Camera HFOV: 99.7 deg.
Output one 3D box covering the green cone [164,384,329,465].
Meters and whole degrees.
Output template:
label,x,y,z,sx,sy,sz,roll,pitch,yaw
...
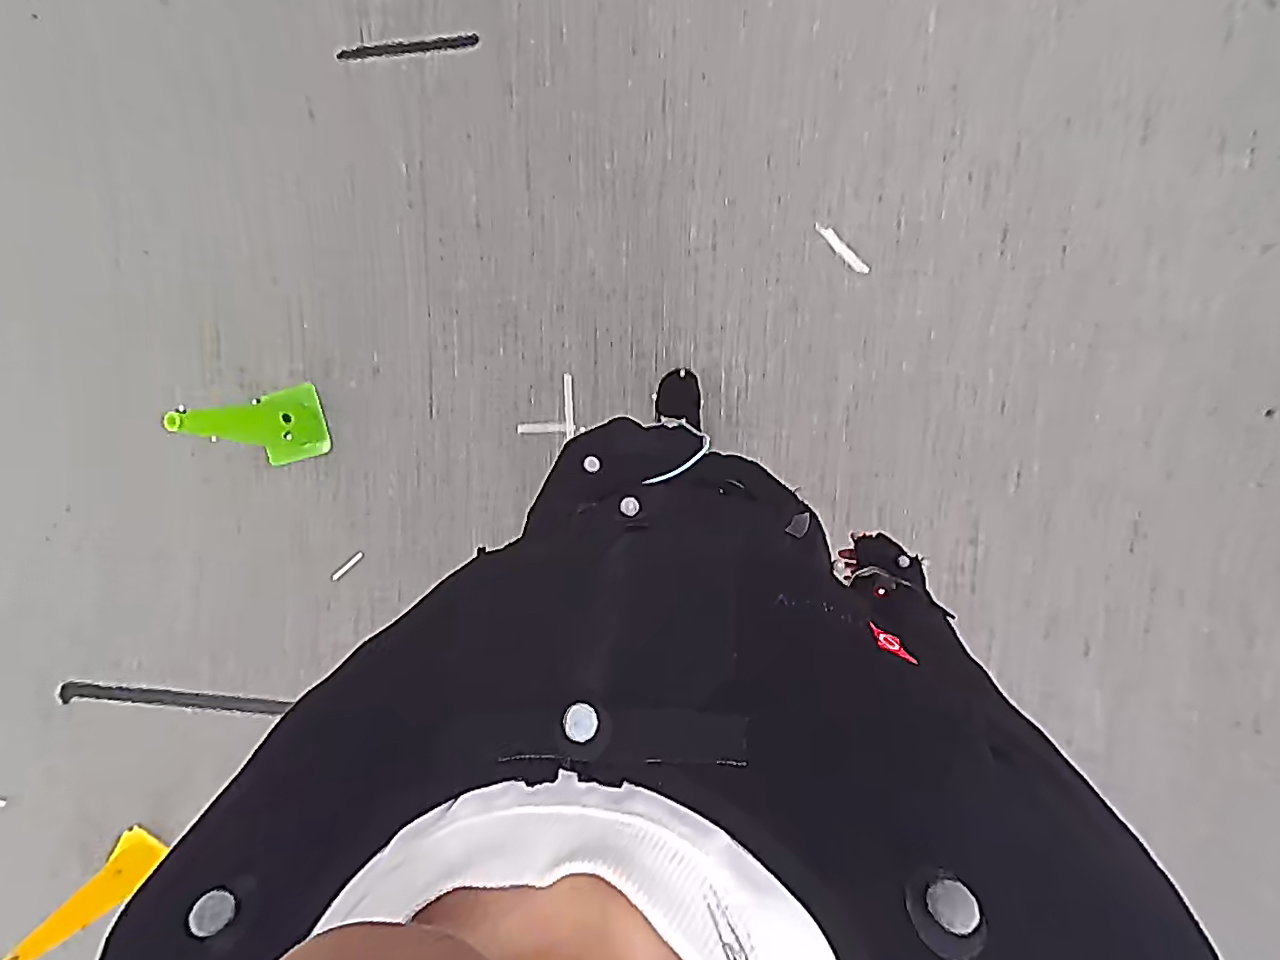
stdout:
label,x,y,z,sx,sy,sz,roll,pitch,yaw
green cone,-1.006,-0.140,1.356,0.202,0.368,0.200,-15,93,7
